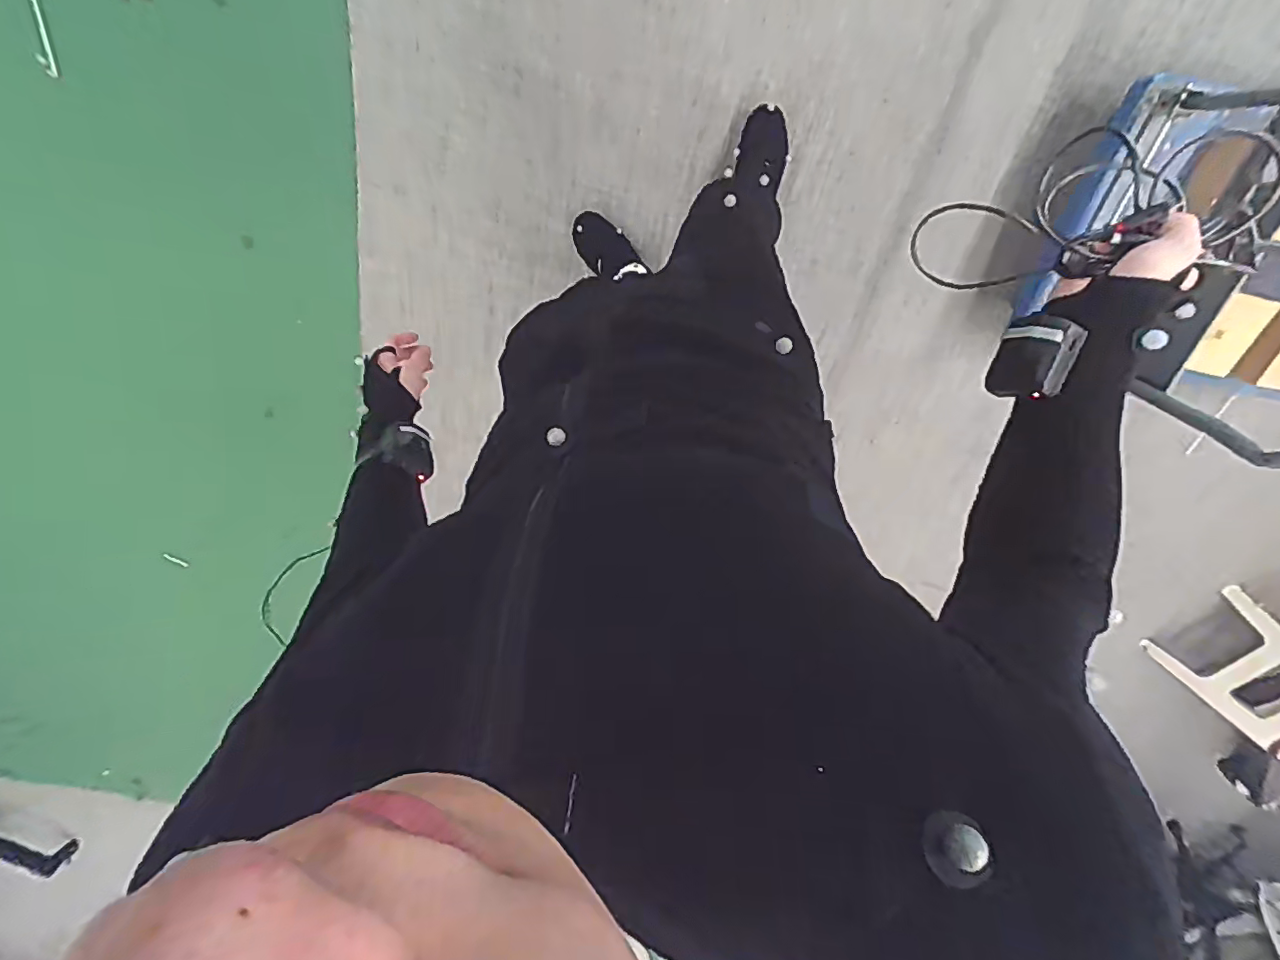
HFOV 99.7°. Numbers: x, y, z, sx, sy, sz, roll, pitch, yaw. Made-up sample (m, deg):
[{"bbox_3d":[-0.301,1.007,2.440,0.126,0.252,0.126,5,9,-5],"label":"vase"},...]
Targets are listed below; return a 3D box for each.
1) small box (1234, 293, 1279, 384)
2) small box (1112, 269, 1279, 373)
[{"bbox_3d":[1.477,-0.317,1.228,0.179,0.176,0.168,8,121,-3],"label":"small box"},{"bbox_3d":[1.235,-0.360,1.209,0.179,0.176,0.168,11,121,-4],"label":"small box"}]
